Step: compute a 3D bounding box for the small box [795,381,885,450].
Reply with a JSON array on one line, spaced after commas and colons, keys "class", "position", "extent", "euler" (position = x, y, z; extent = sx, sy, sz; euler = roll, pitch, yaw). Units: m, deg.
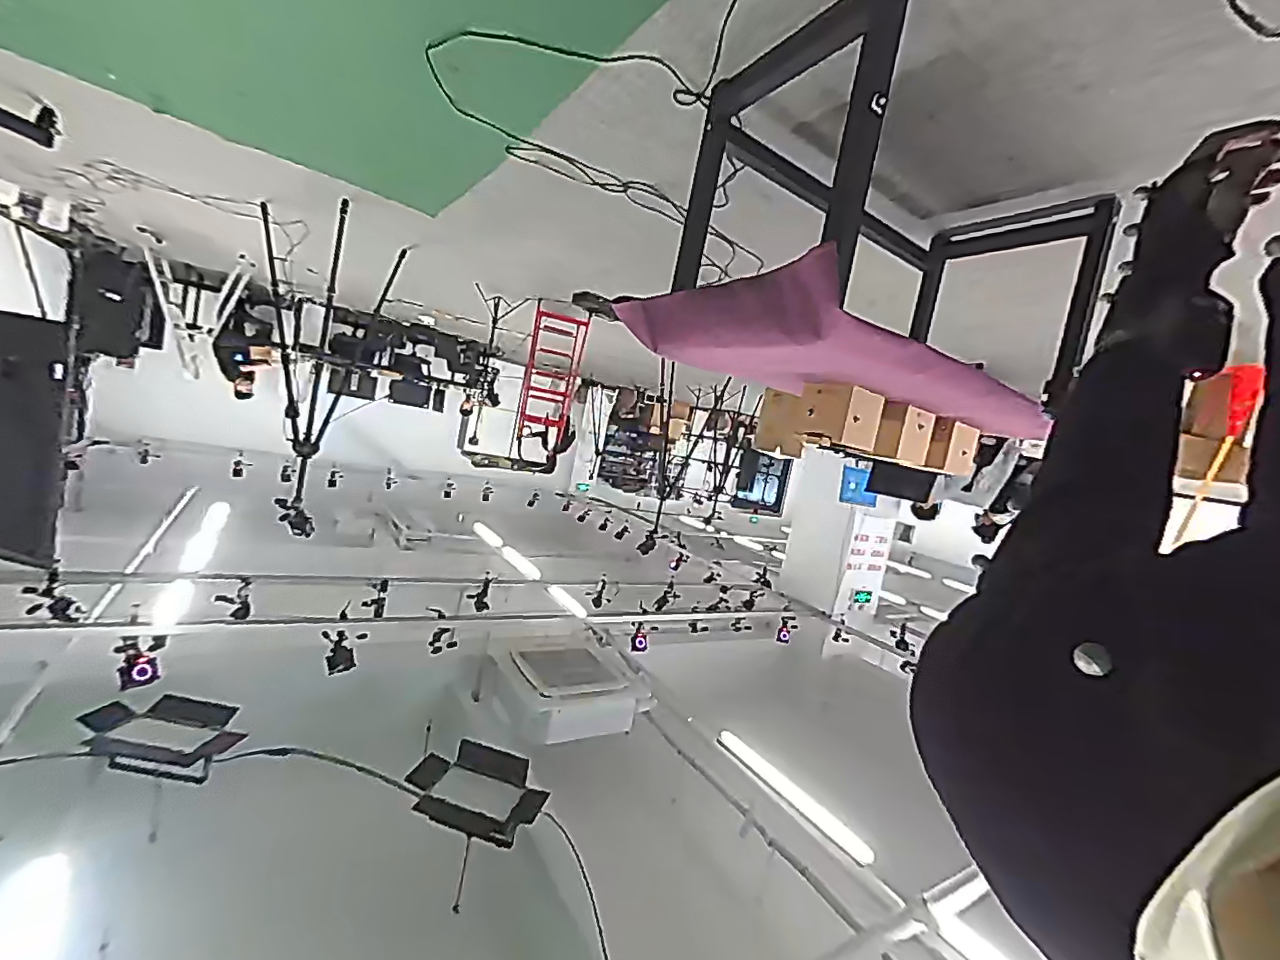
[{"class": "small box", "position": [0.584, -0.190, 1.576], "extent": [0.179, 0.176, 0.168], "euler": [7, -174, -38]}]

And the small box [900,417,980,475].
[{"class": "small box", "position": [1.027, -0.121, 1.850], "extent": [0.179, 0.176, 0.168], "euler": [7, -174, -34]}]

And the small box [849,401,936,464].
[{"class": "small box", "position": [0.807, -0.156, 1.726], "extent": [0.168, 0.176, 0.179], "euler": [8, -175, -35]}]
